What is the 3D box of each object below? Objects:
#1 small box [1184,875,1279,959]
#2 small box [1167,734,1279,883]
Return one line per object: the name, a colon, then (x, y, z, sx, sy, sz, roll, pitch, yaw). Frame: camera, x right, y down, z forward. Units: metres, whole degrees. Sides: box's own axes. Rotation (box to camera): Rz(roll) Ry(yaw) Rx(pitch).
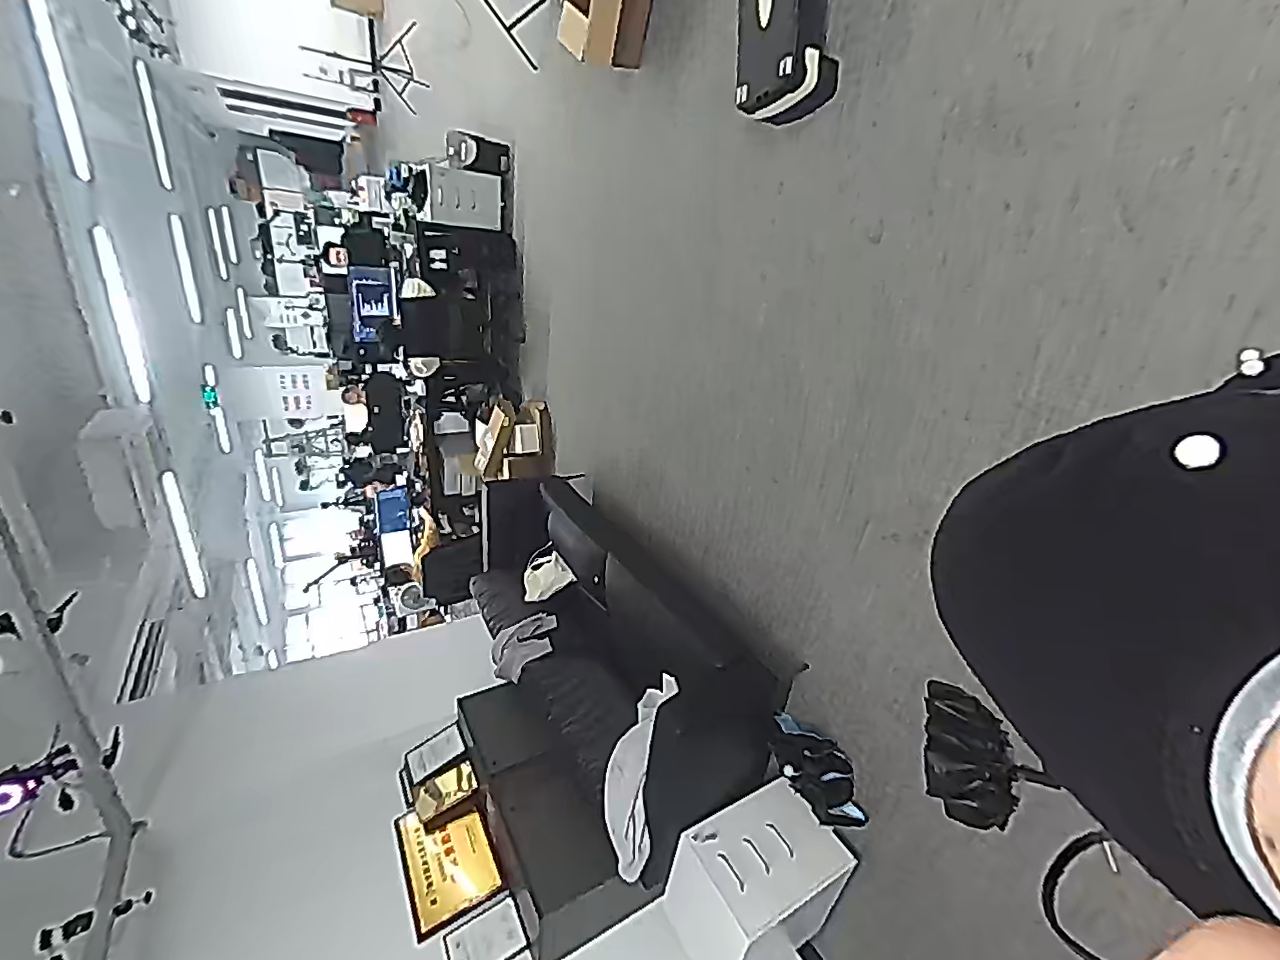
small box: (0.895, 0.689, 0.738, 0.179, 0.176, 0.168, 32, 125, 50)
small box: (0.998, 0.539, 0.851, 0.179, 0.176, 0.168, 27, 120, 55)
